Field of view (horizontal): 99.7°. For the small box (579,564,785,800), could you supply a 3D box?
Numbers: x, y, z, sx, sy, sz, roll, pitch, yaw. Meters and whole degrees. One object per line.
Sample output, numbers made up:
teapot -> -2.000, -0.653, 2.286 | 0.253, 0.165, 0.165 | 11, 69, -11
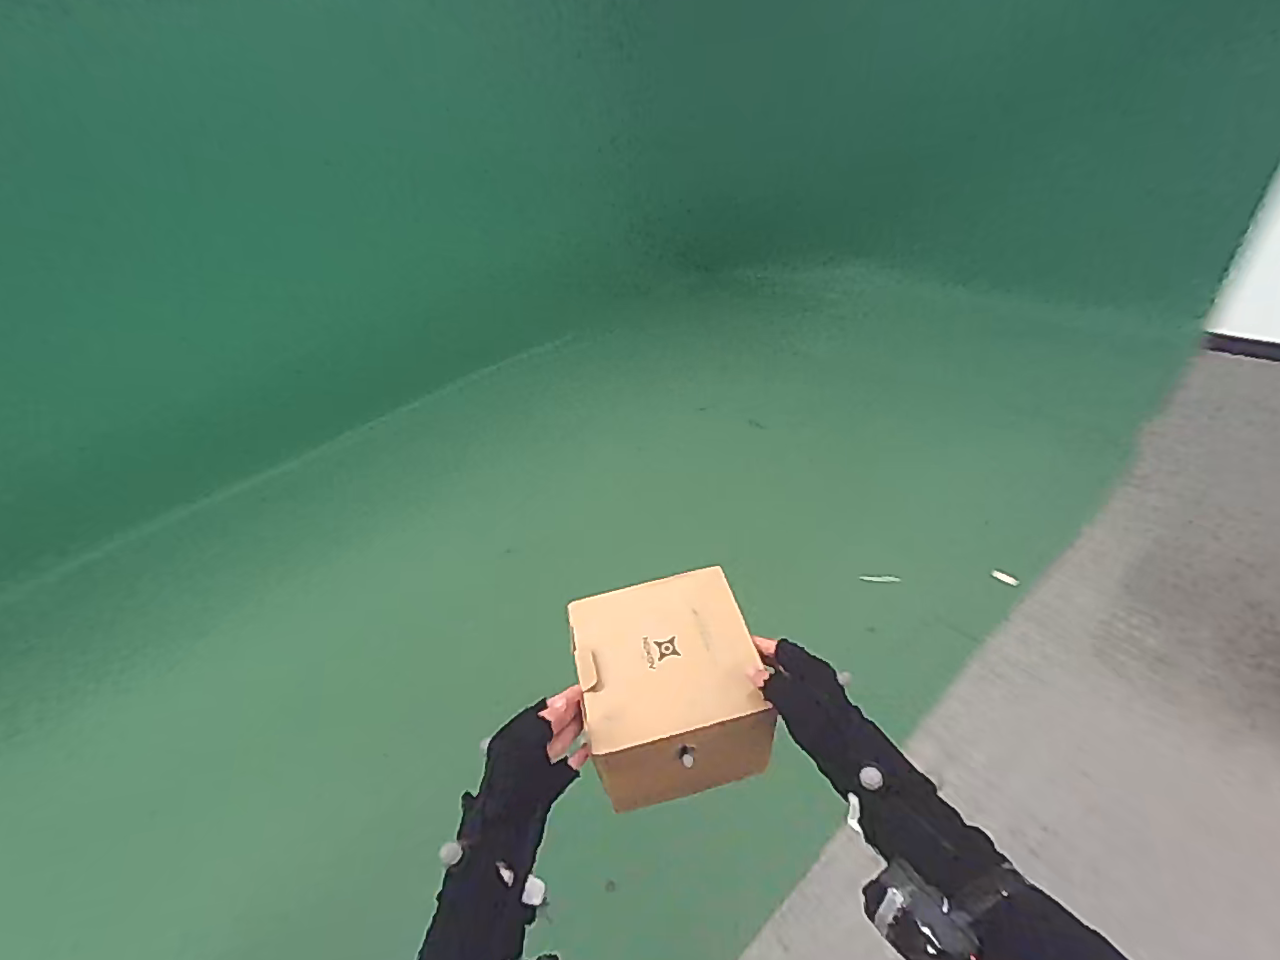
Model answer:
small box -> 0.040, 0.223, 0.593 | 0.179, 0.176, 0.168 | -12, 44, -7
